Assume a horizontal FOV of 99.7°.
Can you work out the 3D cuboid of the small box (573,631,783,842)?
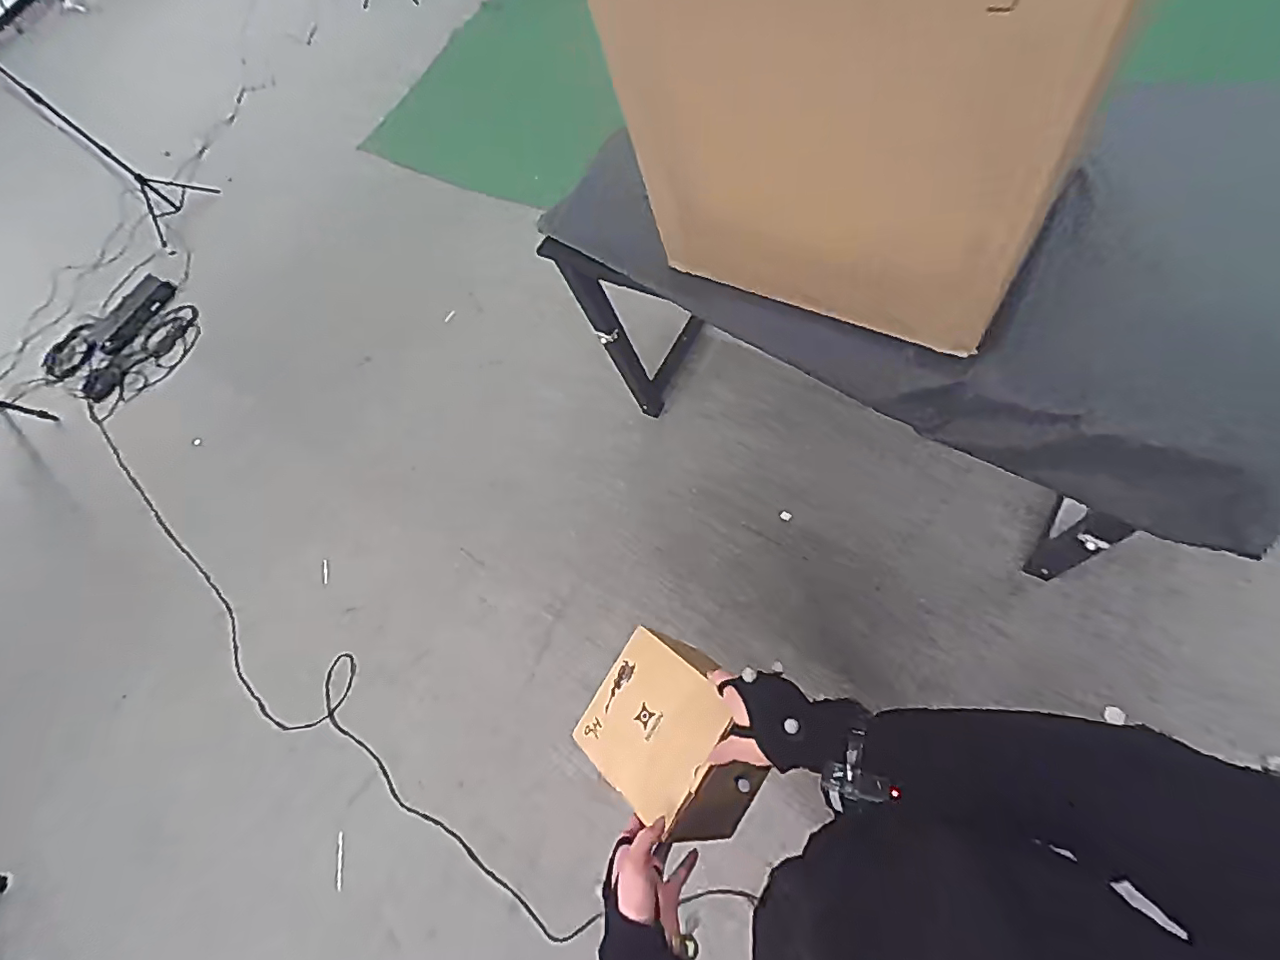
[{"bbox_3d":[0.054,0.325,0.701,0.179,0.176,0.168,28,83,45],"label":"small box"}]
